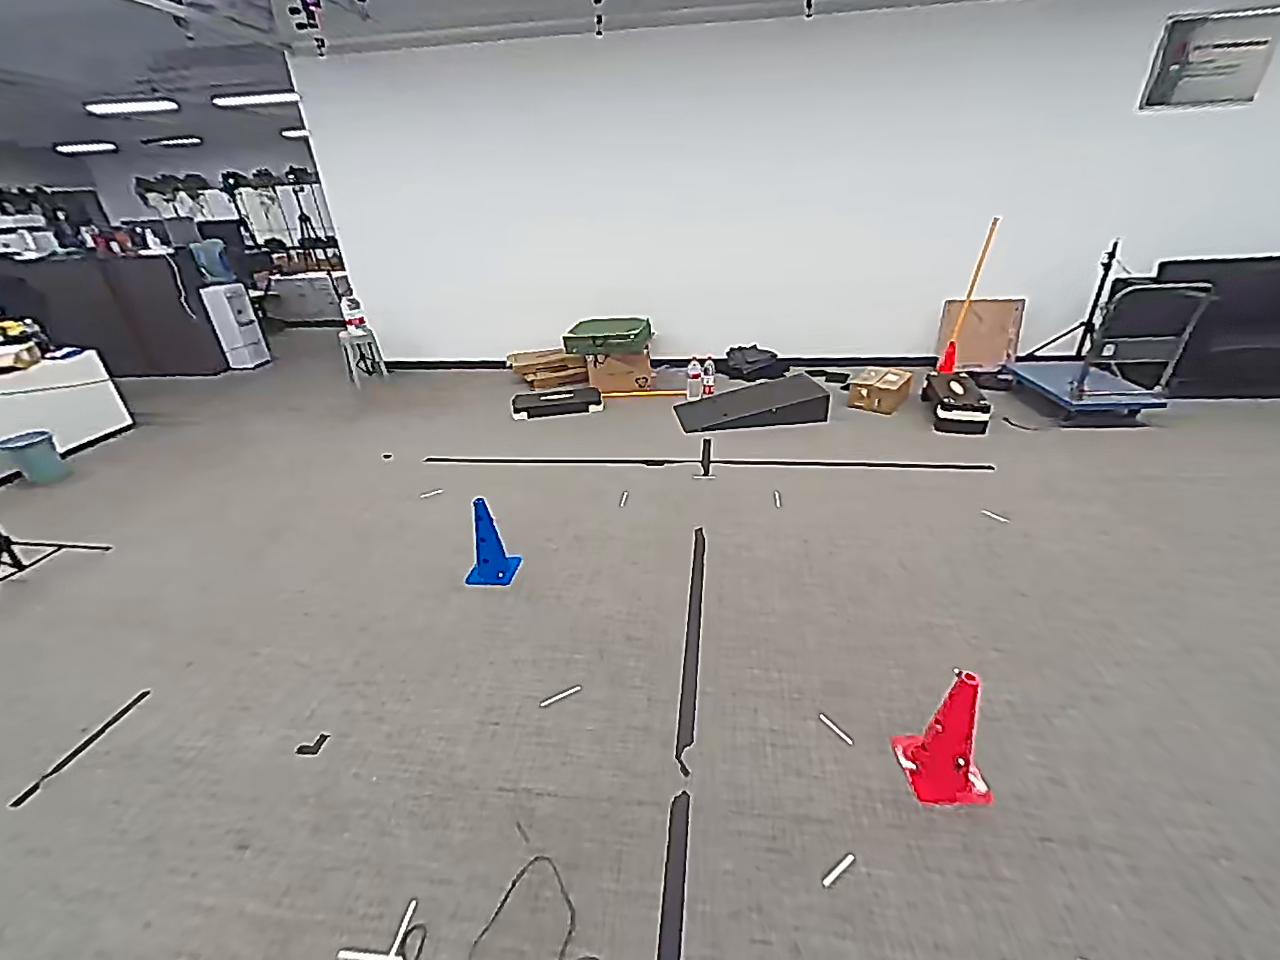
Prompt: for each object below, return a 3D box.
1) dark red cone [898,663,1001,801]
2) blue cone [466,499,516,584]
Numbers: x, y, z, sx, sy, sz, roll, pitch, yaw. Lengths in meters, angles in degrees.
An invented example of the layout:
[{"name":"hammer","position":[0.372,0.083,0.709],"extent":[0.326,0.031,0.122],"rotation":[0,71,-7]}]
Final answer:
[{"name":"dark red cone","position":[0.818,0.619,1.381],"extent":[0.201,0.394,0.202],"rotation":[-3,28,2]},{"name":"blue cone","position":[-0.654,0.248,2.273],"extent":[0.192,0.380,0.193],"rotation":[1,28,9]}]
